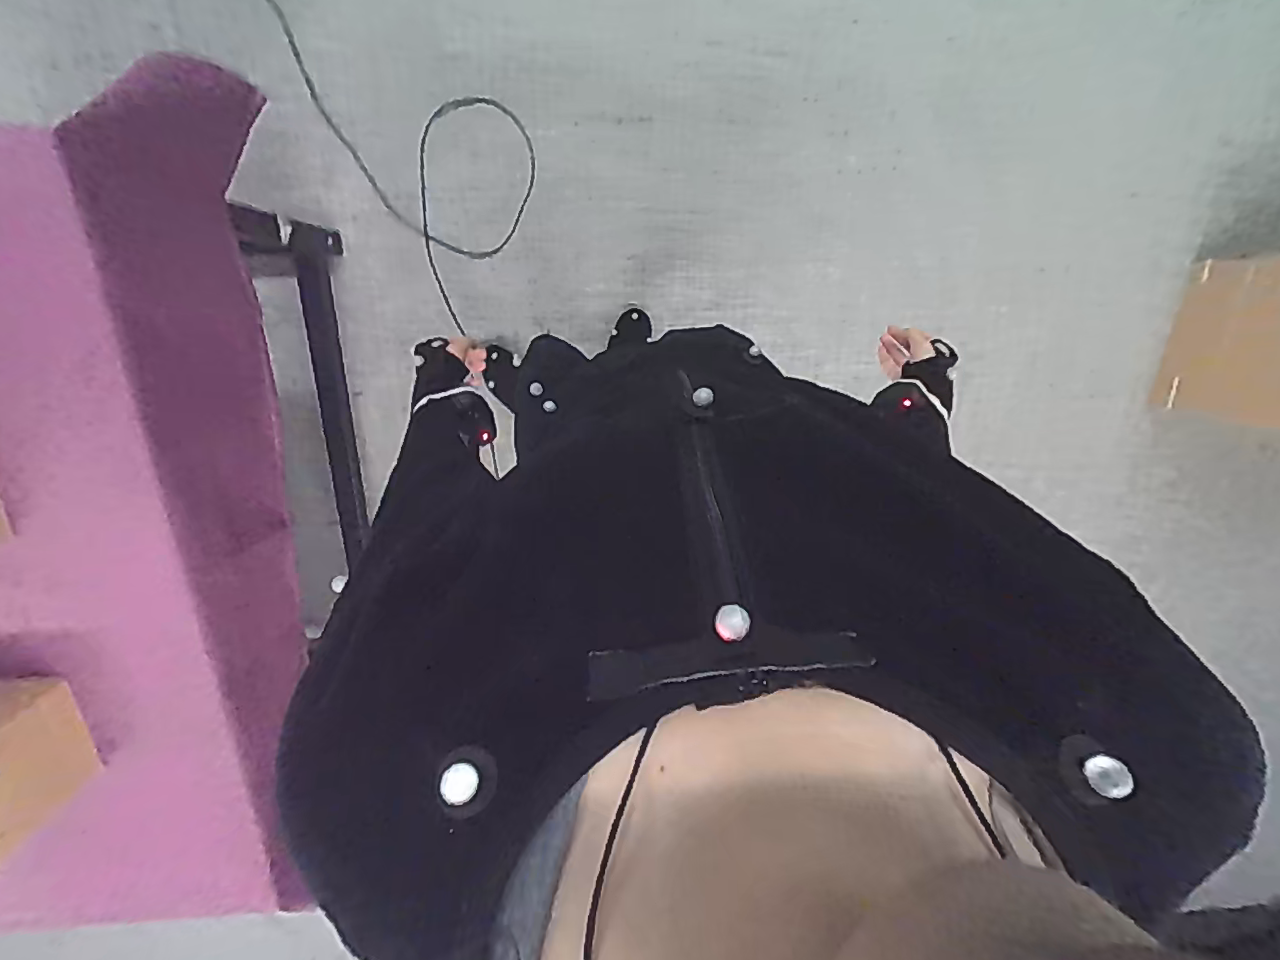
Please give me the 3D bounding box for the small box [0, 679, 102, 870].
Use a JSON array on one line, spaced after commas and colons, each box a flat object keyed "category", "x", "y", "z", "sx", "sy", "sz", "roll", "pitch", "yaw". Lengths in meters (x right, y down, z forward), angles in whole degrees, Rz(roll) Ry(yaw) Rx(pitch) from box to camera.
[{"category": "small box", "x": -0.901, "y": 0.398, "z": 0.732, "sx": 0.168, "sy": 0.176, "sz": 0.179, "roll": -3, "pitch": 107, "yaw": -4}]
